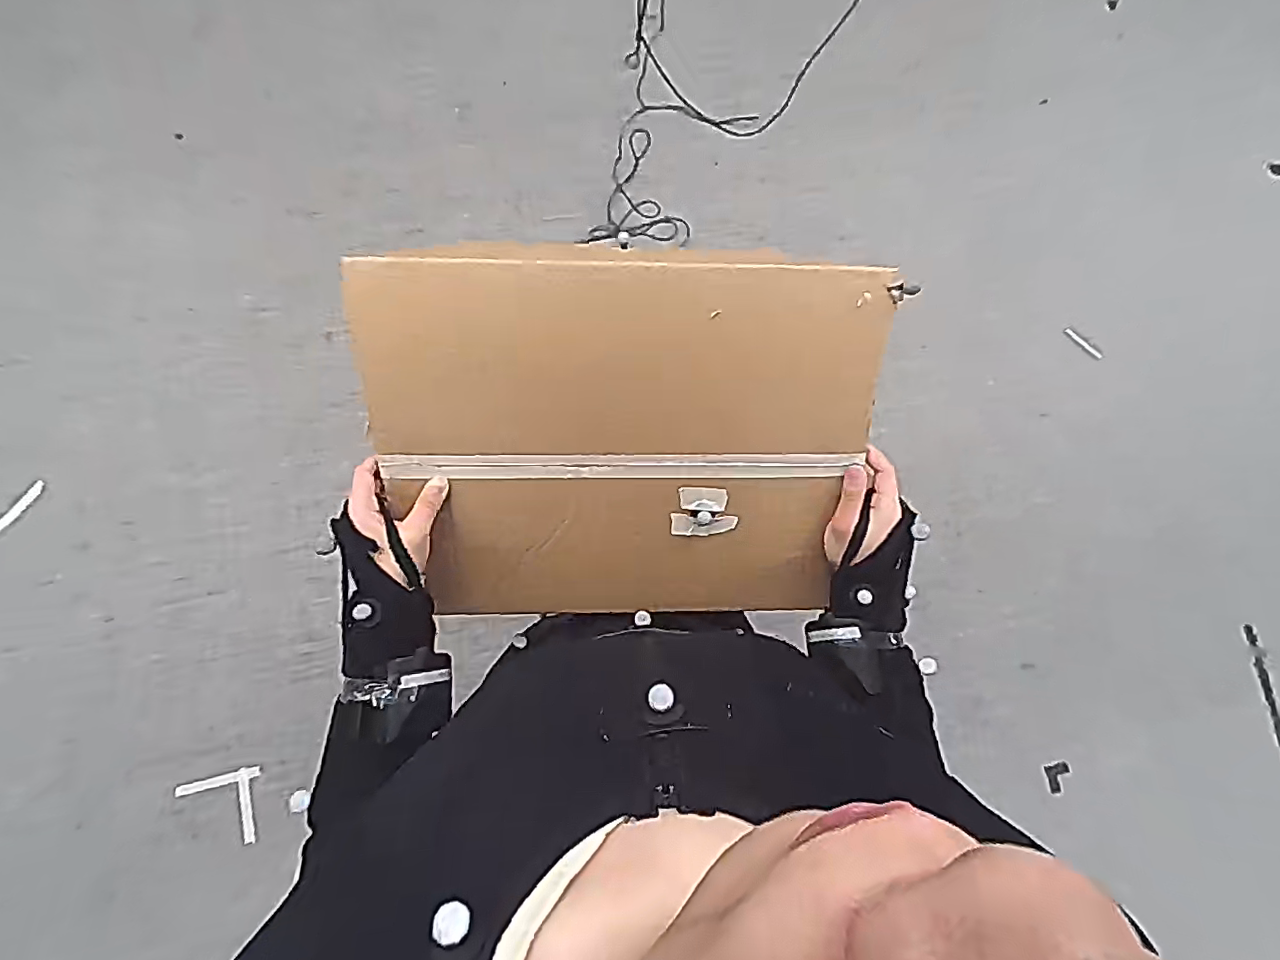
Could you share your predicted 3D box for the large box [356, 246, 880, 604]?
[{"bbox_3d":[-0.022,-0.089,0.602,0.408,0.320,0.320,-1,117,-4],"label":"large box"}]
